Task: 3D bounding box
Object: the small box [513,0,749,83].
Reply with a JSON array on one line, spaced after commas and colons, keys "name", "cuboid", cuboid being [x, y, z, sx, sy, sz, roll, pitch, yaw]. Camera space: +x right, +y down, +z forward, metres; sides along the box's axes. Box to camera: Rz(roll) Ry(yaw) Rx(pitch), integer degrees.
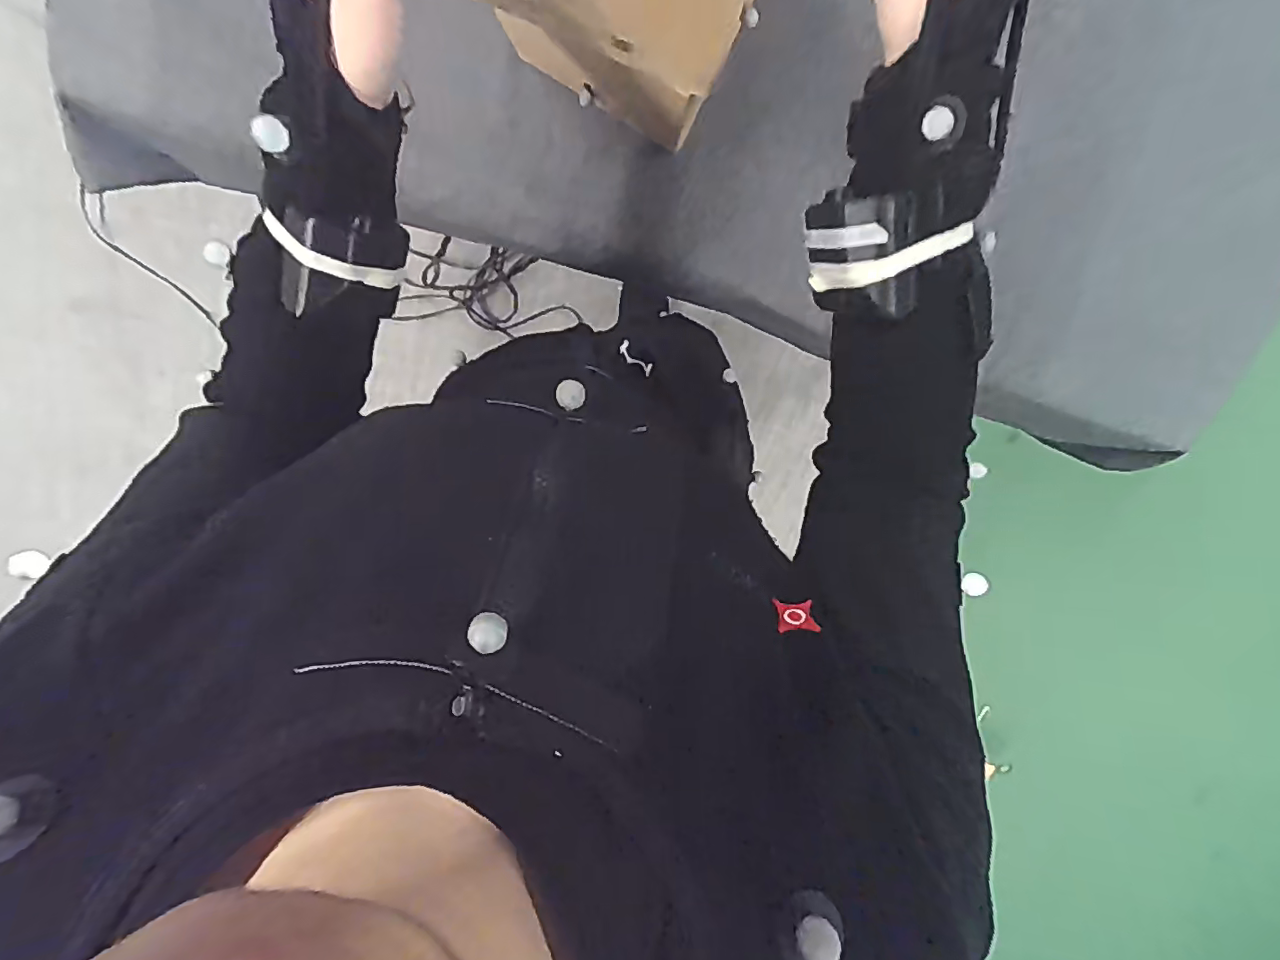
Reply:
[{"name": "small box", "cuboid": [0.000, -0.327, 0.246, 0.168, 0.176, 0.179, 19, 109, -6]}]
